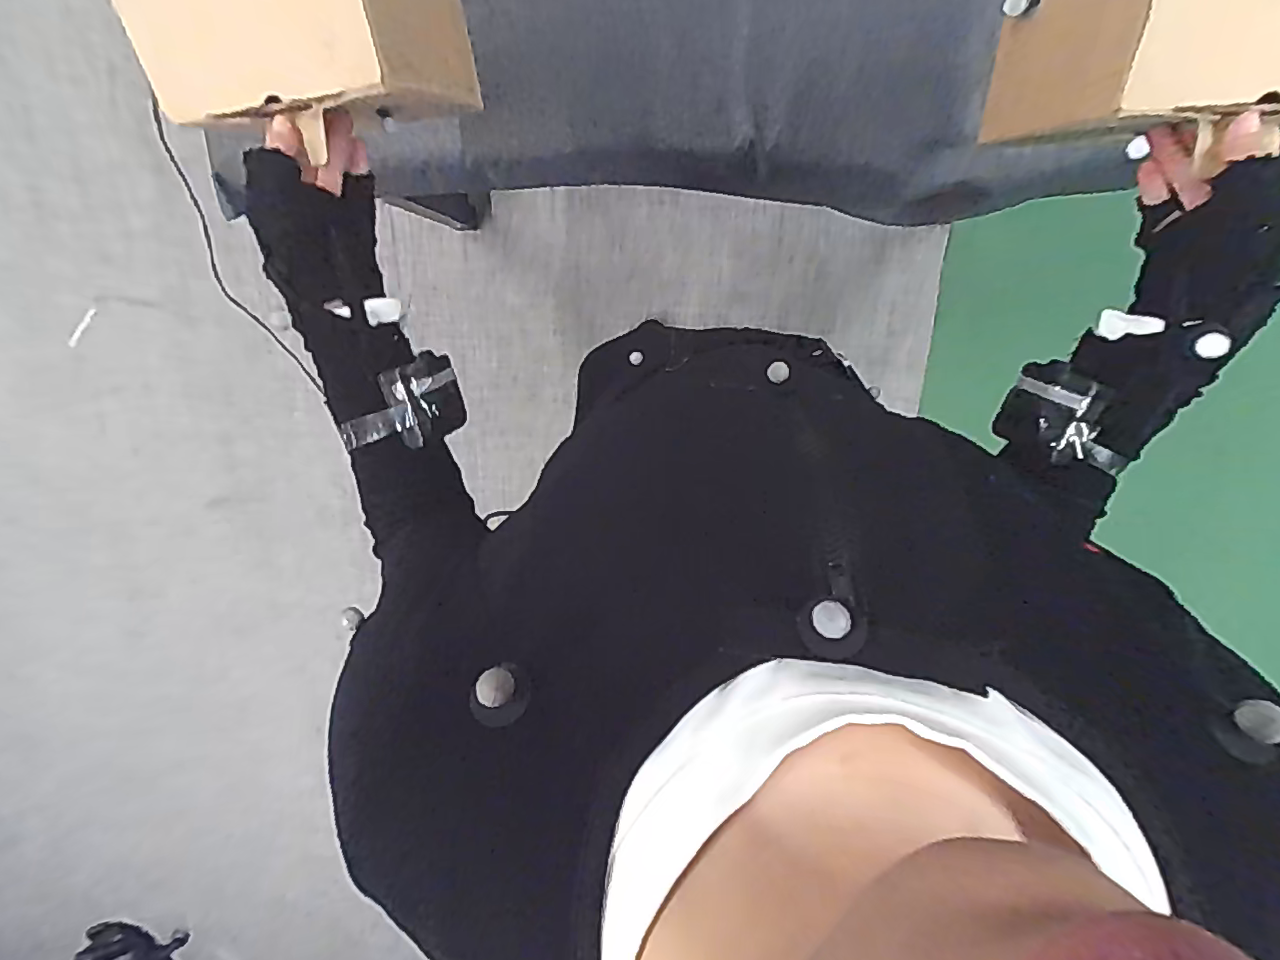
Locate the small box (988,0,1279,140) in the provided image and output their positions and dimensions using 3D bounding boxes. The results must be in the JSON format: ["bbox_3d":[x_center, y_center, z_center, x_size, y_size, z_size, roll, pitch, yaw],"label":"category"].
[{"bbox_3d":[0.360,-0.324,0.344,0.168,0.176,0.179,1,117,3],"label":"small box"}]

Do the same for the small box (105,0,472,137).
[{"bbox_3d":[-0.240,-0.353,0.380,0.168,0.176,0.179,-3,119,9],"label":"small box"}]
